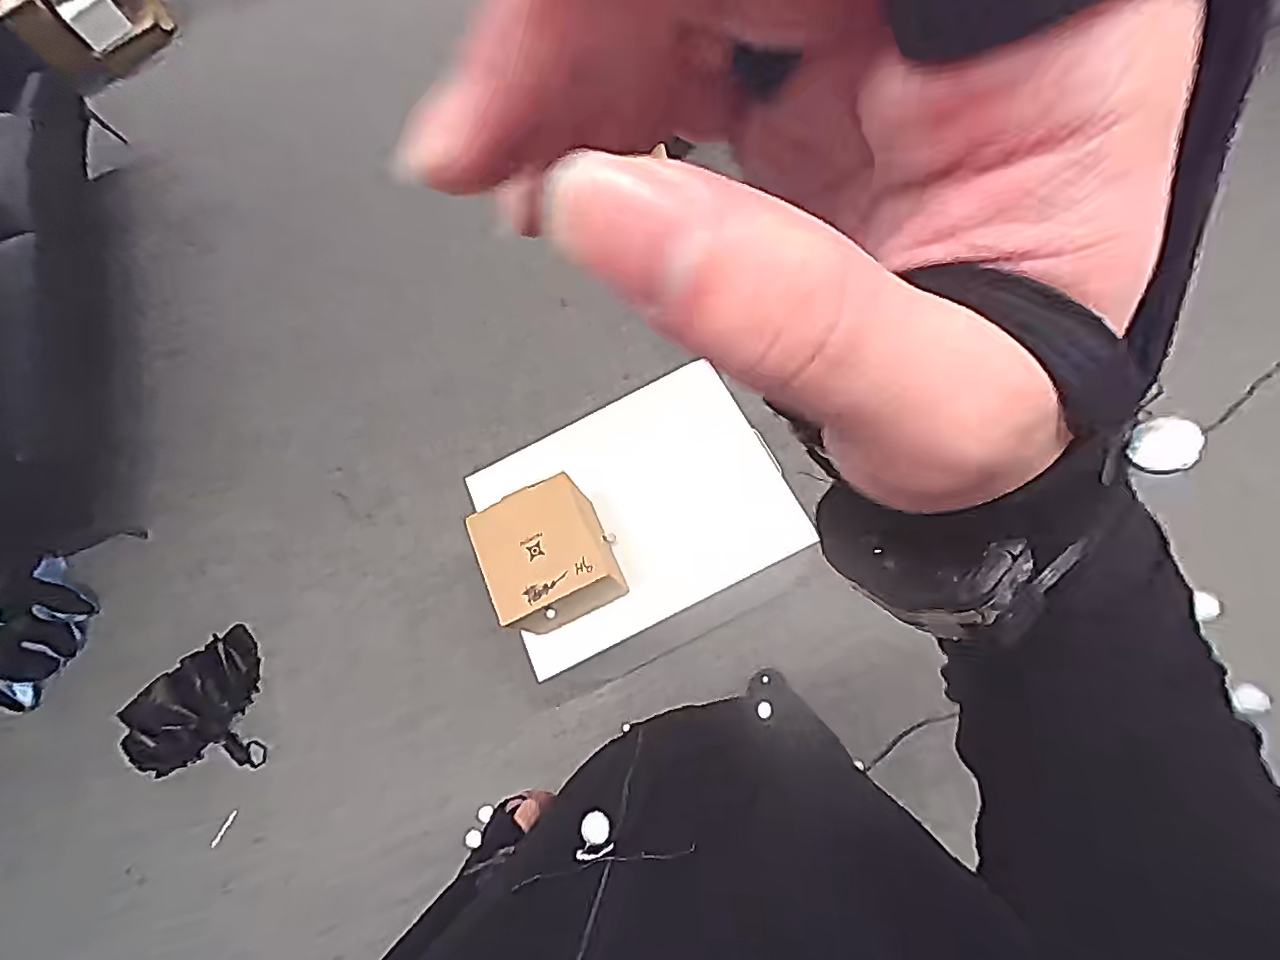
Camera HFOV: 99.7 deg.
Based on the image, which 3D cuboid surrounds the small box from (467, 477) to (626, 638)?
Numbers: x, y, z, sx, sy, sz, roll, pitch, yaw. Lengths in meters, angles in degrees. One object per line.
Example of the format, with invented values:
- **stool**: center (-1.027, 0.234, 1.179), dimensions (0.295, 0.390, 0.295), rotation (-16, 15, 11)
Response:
- **small box**: center (-0.139, 0.128, 0.843), dimensions (0.168, 0.176, 0.179), rotation (-27, 67, -1)
